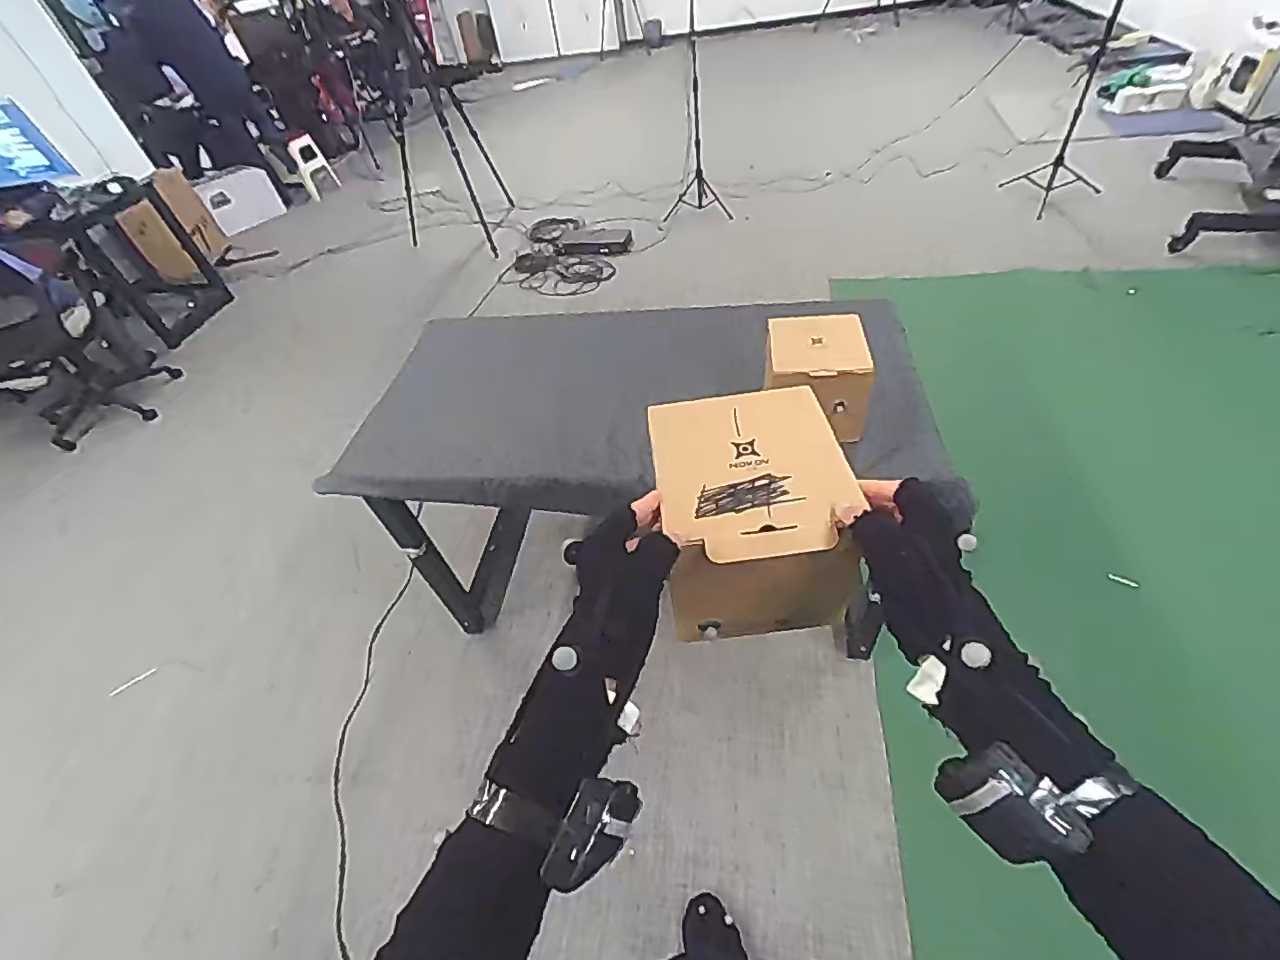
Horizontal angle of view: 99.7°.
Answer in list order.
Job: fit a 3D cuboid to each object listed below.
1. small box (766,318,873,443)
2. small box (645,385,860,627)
[{"bbox_3d":[0.327,-0.182,1.018,0.168,0.176,0.179,0,46,9],"label":"small box"},{"bbox_3d":[0.100,0.033,0.541,0.168,0.176,0.179,-7,46,2],"label":"small box"}]
